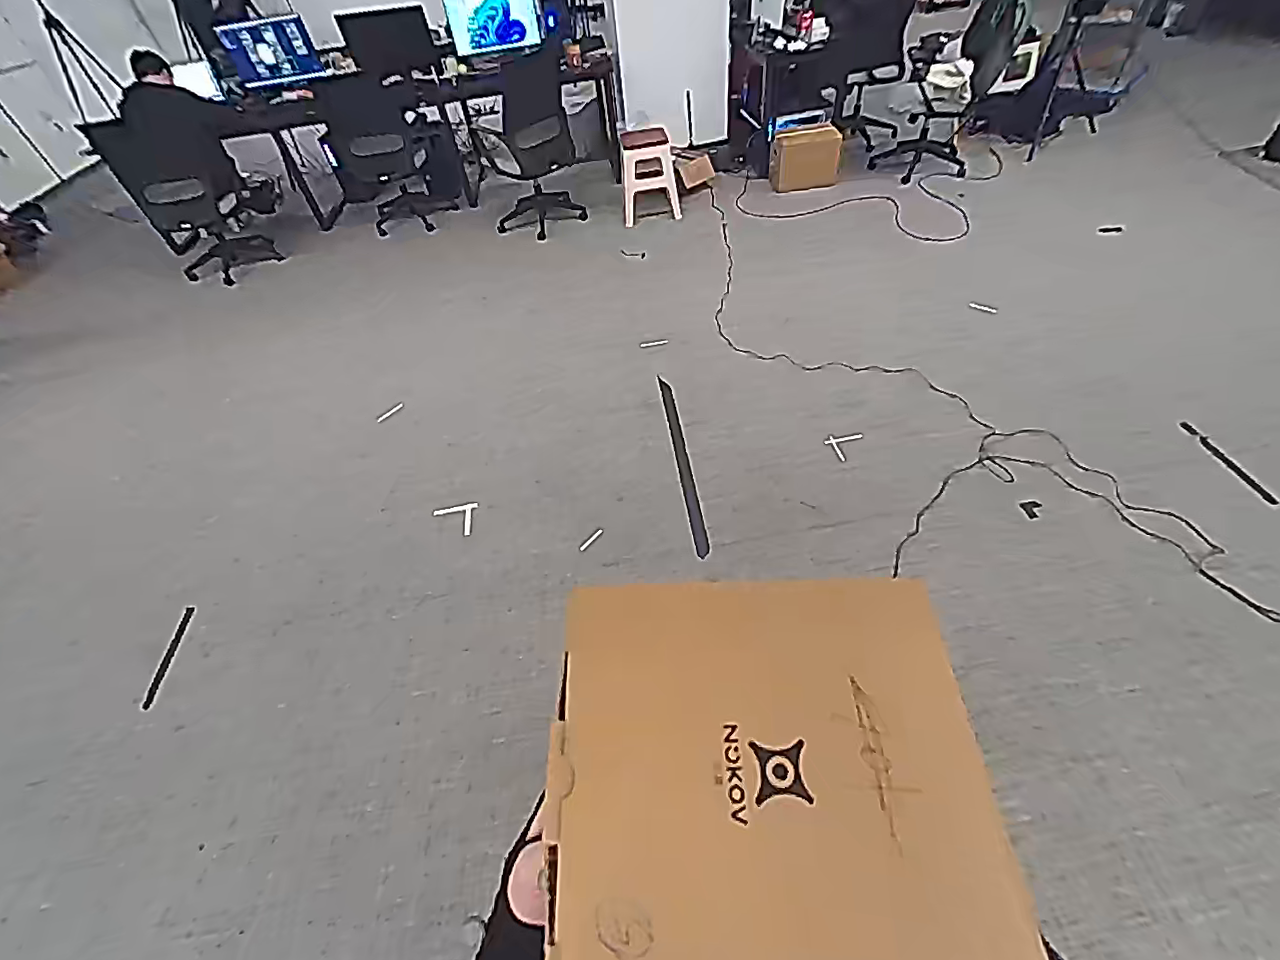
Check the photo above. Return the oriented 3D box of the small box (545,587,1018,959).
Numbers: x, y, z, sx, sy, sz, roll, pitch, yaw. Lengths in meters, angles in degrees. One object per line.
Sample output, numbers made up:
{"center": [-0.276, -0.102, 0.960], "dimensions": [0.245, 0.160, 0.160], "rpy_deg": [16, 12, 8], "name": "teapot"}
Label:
{"center": [0.051, 0.169, 0.299], "dimensions": [0.179, 0.176, 0.168], "rpy_deg": [-1, 57, -2], "name": "small box"}
